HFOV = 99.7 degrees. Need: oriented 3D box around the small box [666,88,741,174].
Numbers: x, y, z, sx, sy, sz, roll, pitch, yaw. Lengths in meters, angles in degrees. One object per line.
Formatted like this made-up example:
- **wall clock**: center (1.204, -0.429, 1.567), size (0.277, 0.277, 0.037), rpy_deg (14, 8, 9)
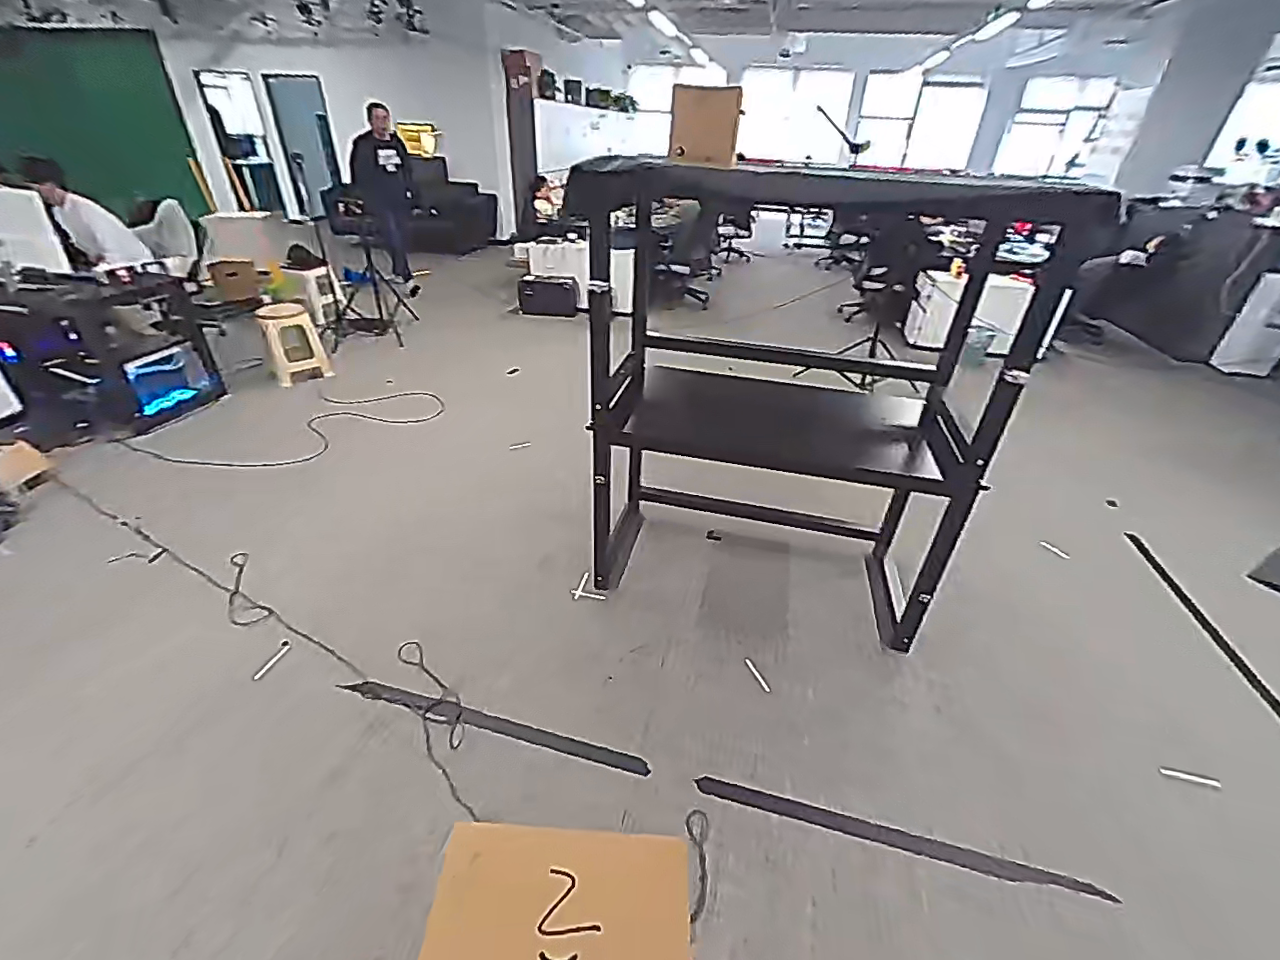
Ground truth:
- **small box**: center (0.160, -0.878, 1.369), size (0.168, 0.176, 0.179), rpy_deg (9, 31, 7)
